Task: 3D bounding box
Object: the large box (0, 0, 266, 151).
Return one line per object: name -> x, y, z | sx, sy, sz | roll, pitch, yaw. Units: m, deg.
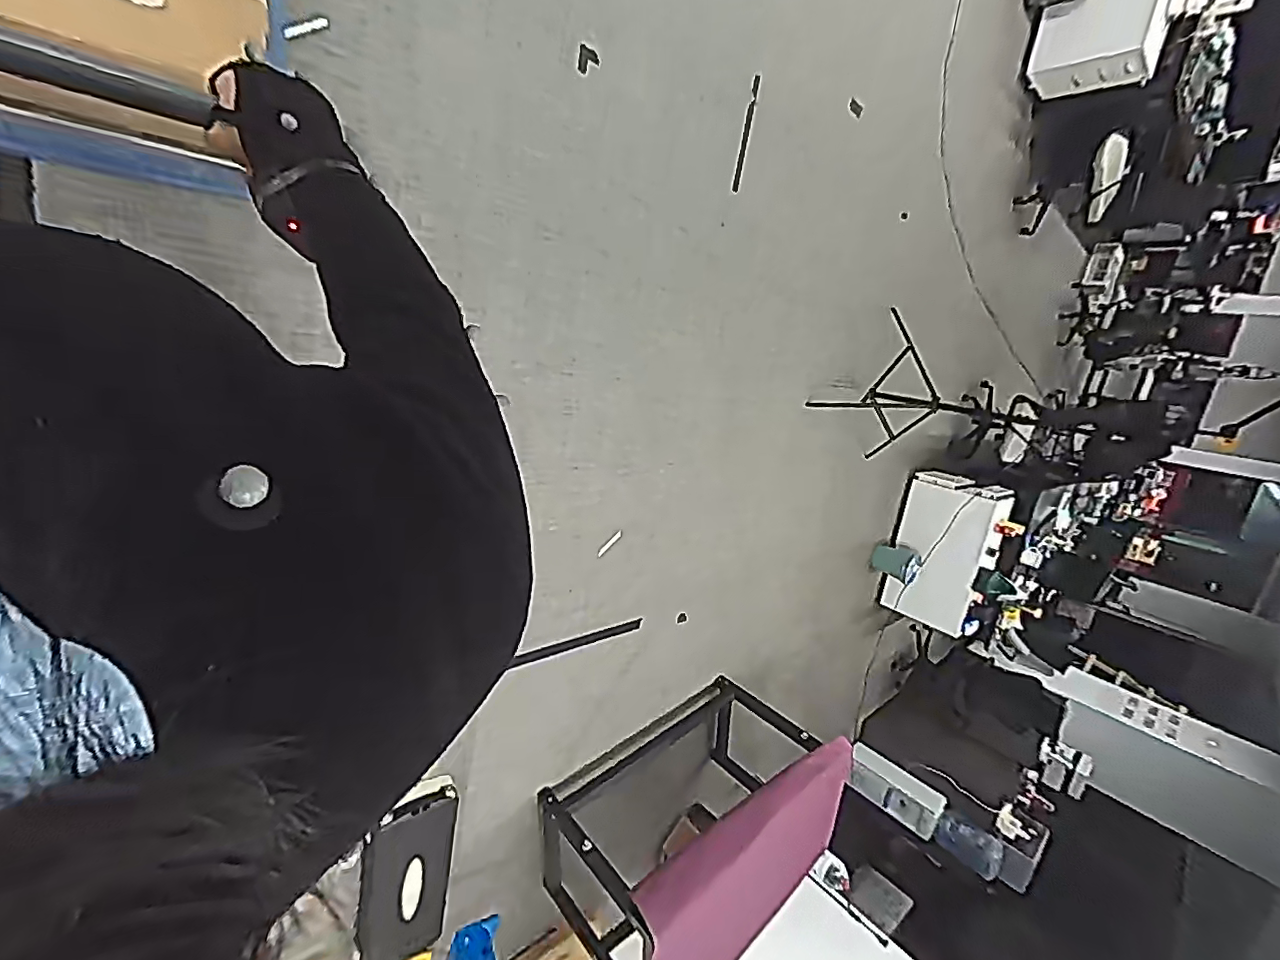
large box -> -0.776, -0.690, 0.720 | 0.408, 0.320, 0.320 | -7, 110, -43
